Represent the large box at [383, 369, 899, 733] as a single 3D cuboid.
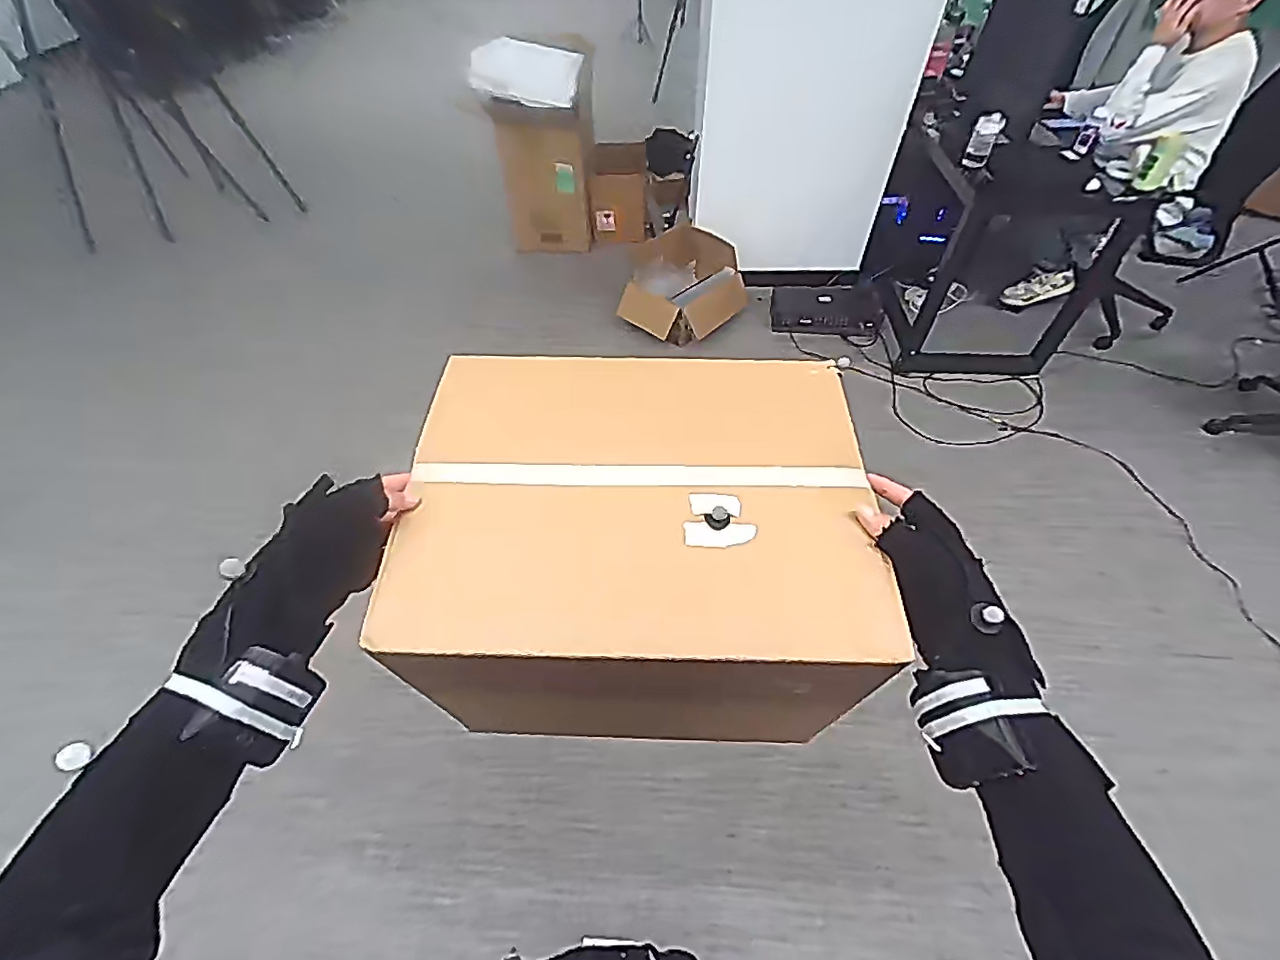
[{"bbox_3d":[0.000,0.092,0.615,0.408,0.320,0.320,1,55,0],"label":"large box"}]
